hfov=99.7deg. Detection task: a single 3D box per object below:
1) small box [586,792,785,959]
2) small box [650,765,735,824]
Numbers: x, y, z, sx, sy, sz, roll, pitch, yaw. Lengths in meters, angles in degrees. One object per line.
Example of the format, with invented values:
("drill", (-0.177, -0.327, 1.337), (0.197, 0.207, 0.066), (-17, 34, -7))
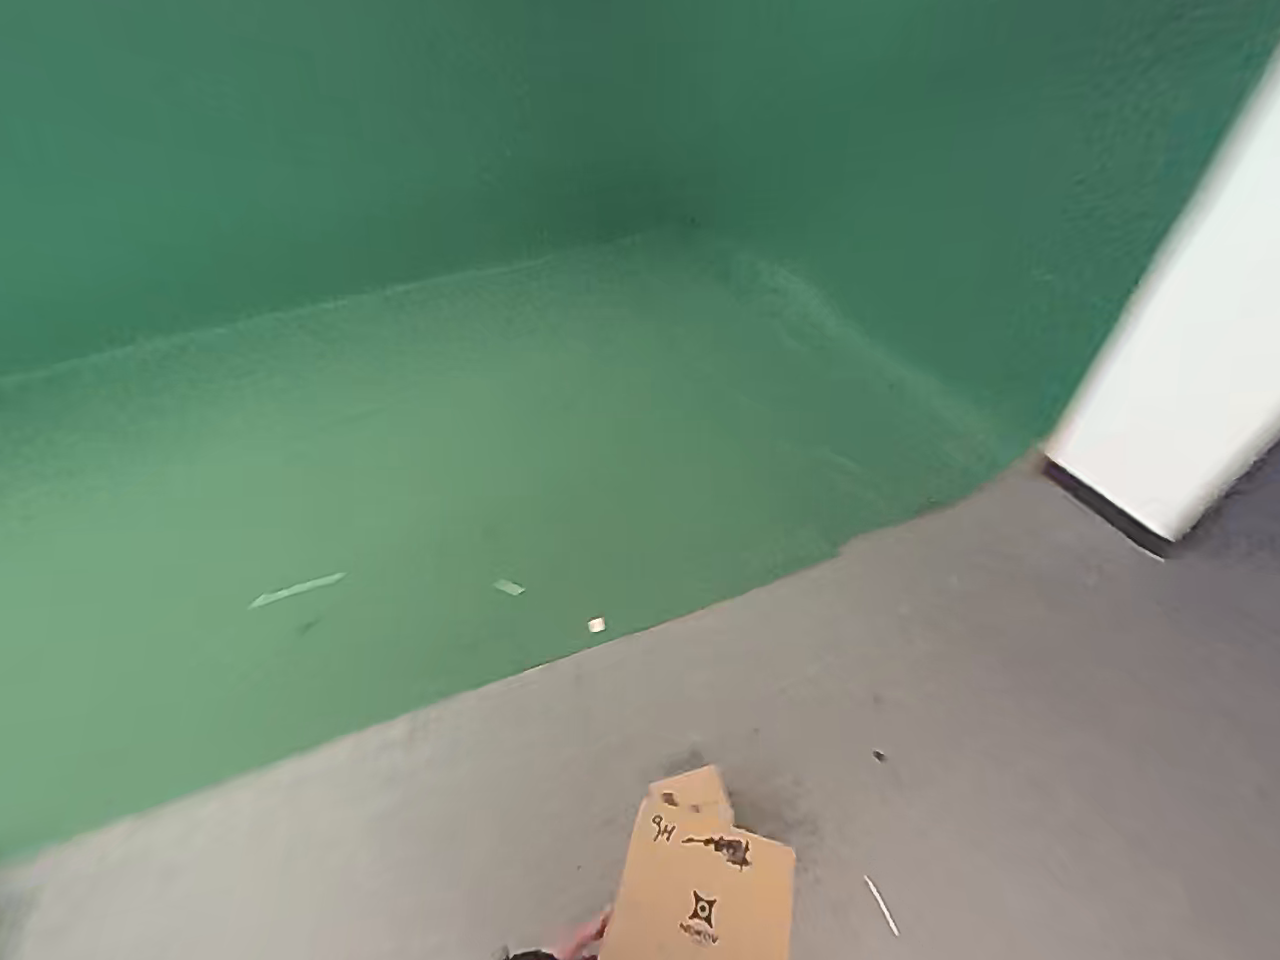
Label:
("small box", (0.046, 0.469, 0.562), (0.168, 0.176, 0.179), (12, 42, 11))
("small box", (0.134, 0.848, 1.358), (0.179, 0.176, 0.168), (-13, 47, -7))
